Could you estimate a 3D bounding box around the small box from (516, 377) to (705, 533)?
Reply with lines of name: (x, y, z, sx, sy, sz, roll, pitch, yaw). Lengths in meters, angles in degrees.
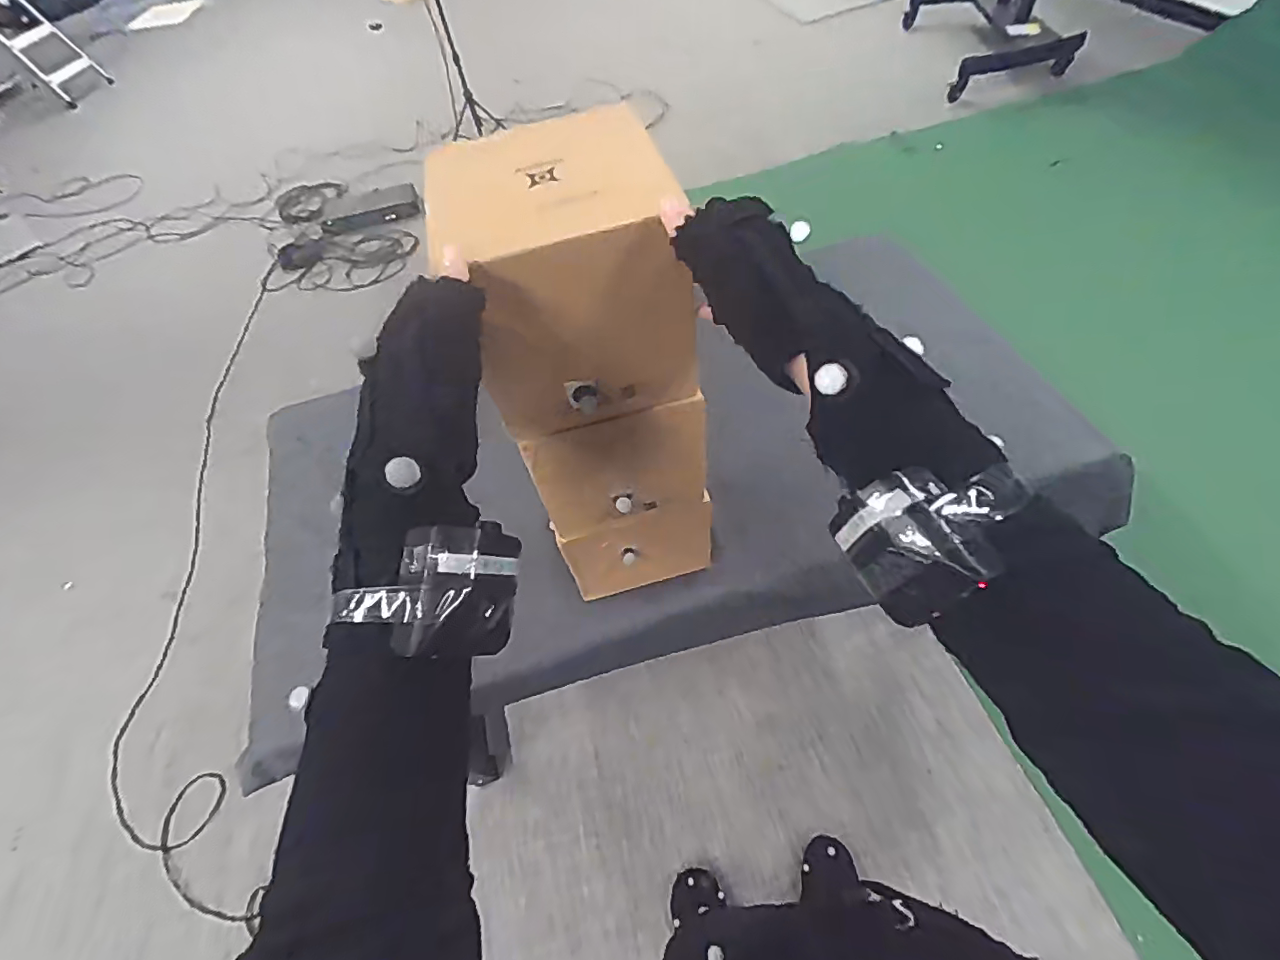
small box: (-0.034, -0.070, 0.574, 0.168, 0.176, 0.179, -13, 55, -2)

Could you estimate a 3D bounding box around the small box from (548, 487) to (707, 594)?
small box: (-0.018, 0.029, 0.704, 0.179, 0.176, 0.168, -15, 55, -3)

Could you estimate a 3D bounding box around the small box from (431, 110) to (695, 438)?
small box: (-0.056, -0.163, 0.443, 0.168, 0.176, 0.179, -14, 55, -2)
